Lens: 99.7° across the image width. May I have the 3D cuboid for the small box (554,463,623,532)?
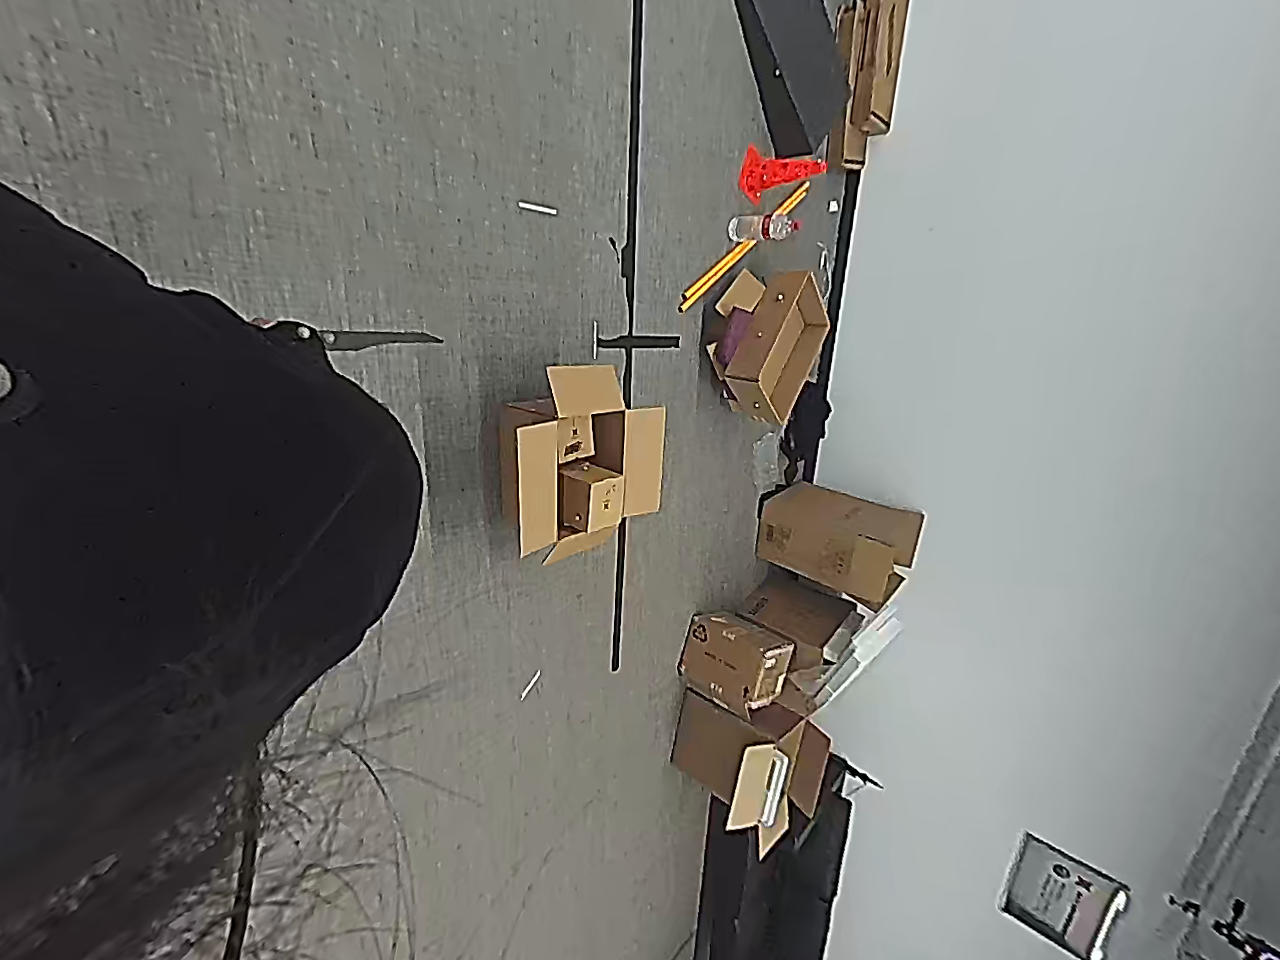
[{"bbox_3d":[-0.179,0.054,1.847,0.168,0.176,0.179,-15,116,-48],"label":"small box"}]
